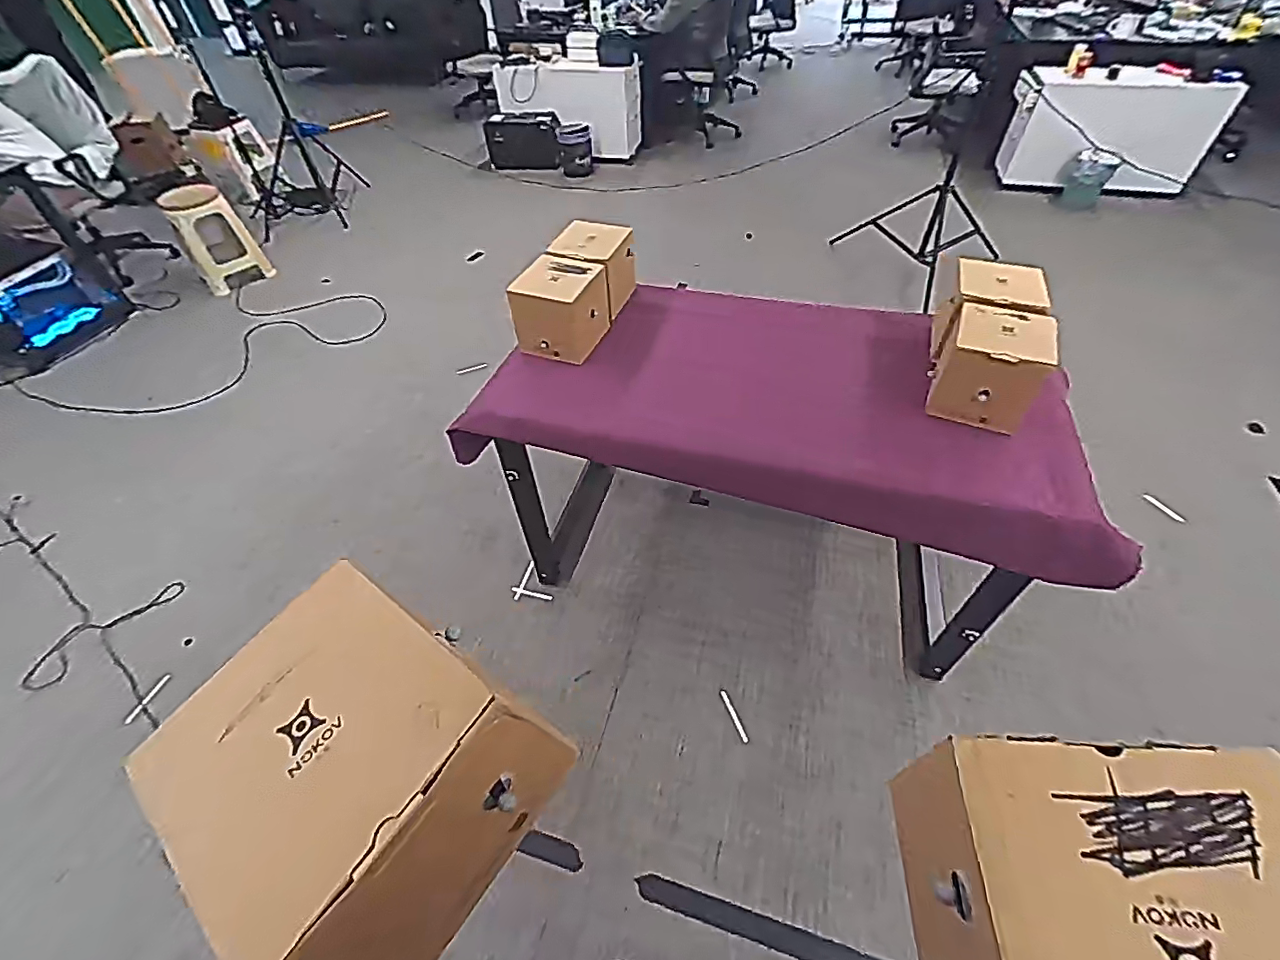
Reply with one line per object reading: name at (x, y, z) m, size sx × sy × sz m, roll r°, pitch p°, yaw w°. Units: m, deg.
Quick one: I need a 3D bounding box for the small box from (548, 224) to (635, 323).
small box at (-0.119, -0.534, 1.397) m, size 0.168 × 0.176 × 0.179 m, roll 14°, pitch 51°, yaw 15°

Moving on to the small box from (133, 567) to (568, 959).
small box at (-0.177, 0.198, 0.380) m, size 0.179 × 0.176 × 0.168 m, roll 25°, pitch 62°, yaw 30°

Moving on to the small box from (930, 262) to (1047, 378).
small box at (0.761, -0.354, 1.200) m, size 0.168 × 0.176 × 0.179 m, roll 15°, pitch 50°, yaw 14°

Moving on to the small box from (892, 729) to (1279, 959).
small box at (0.265, 0.263, 0.319) m, size 0.168 × 0.176 × 0.179 m, roll -2°, pitch 54°, yaw 10°
